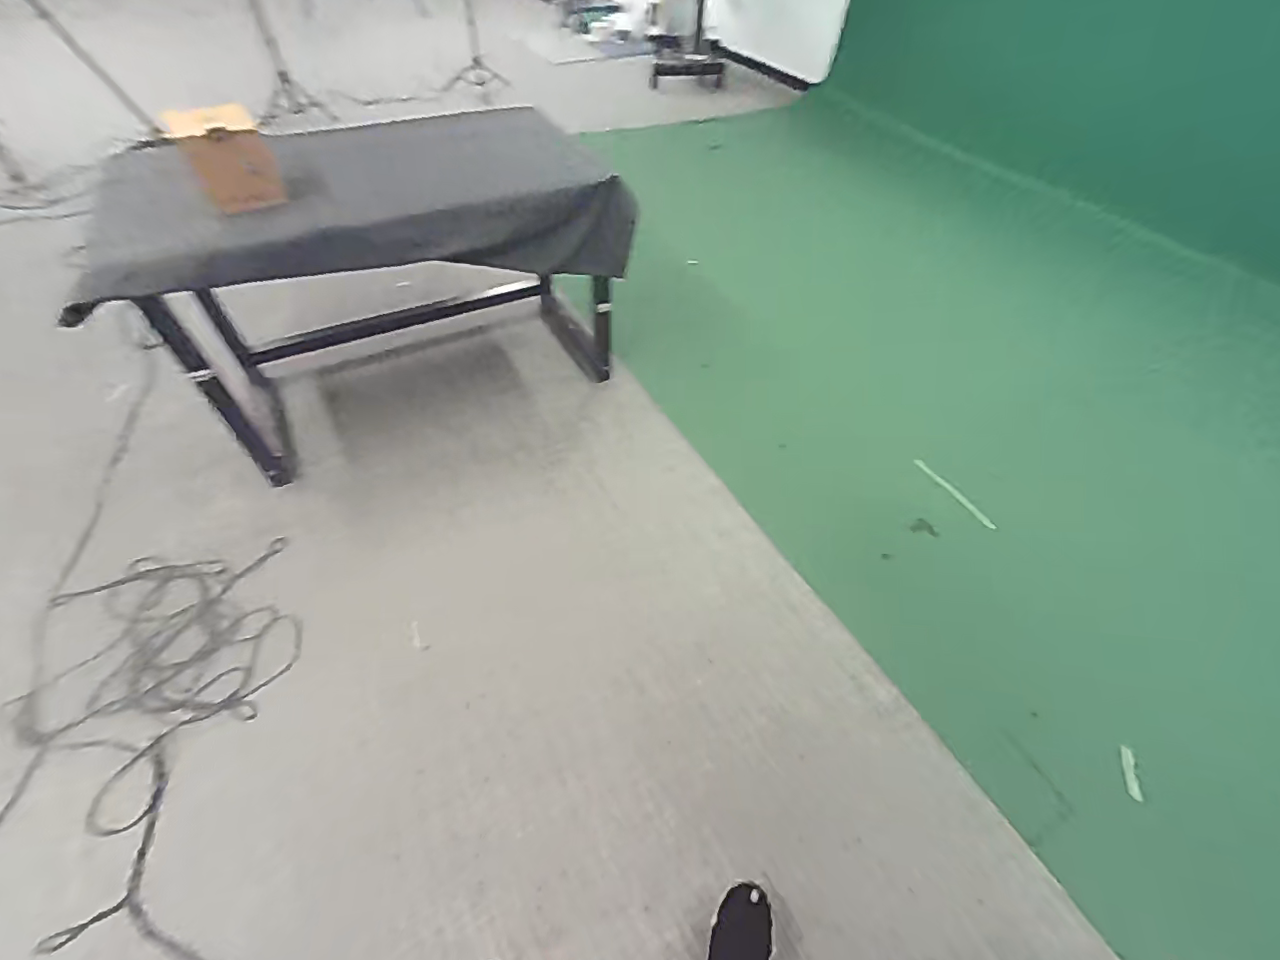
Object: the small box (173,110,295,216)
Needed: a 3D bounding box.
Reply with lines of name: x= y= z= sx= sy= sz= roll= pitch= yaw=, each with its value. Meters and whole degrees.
small box: x=-0.949 y=-0.743 z=1.275 sx=0.168 sy=0.176 sz=0.179 roll=-27 pitch=55 yaw=-25
